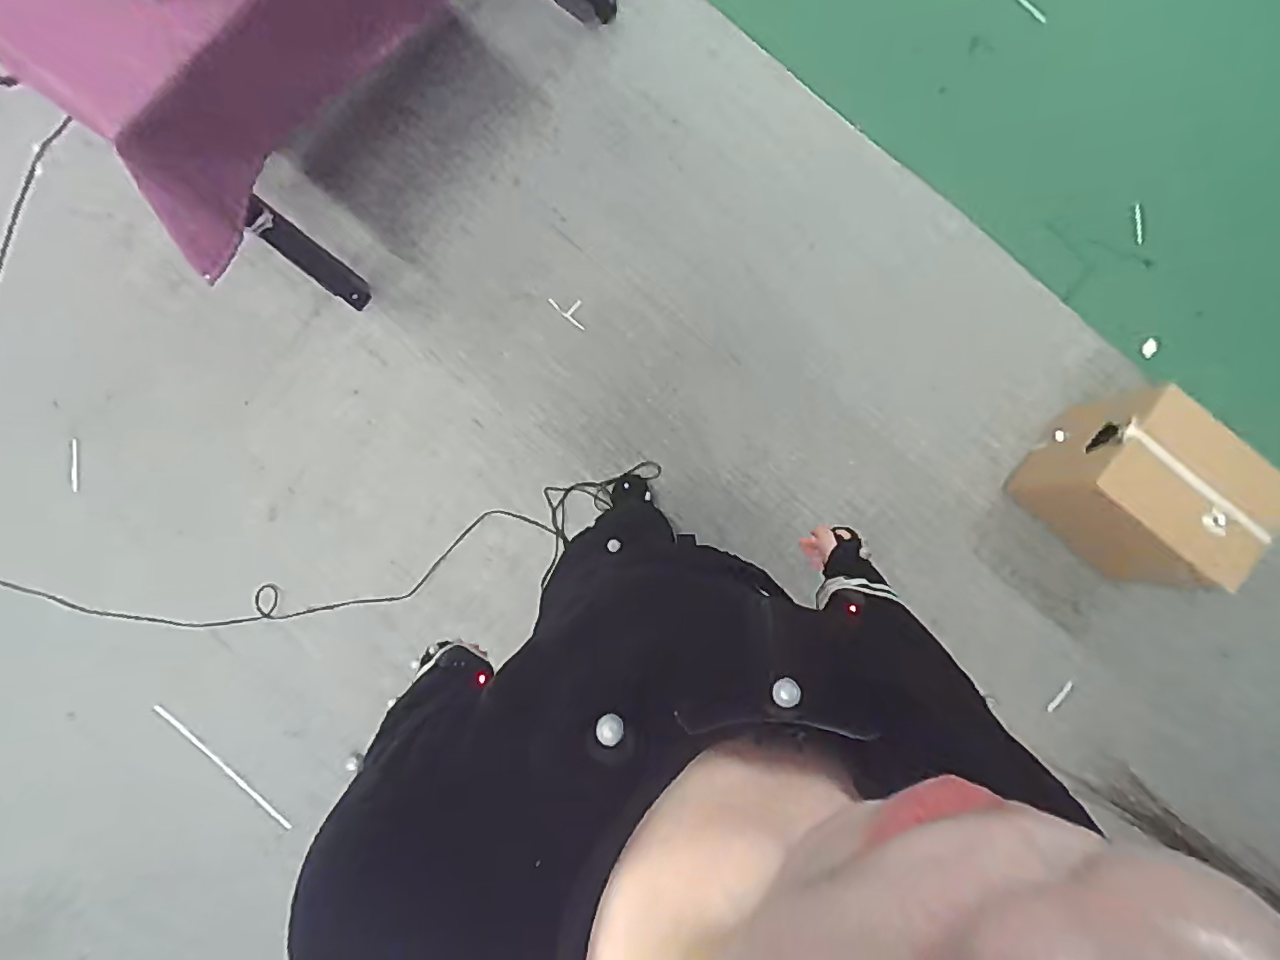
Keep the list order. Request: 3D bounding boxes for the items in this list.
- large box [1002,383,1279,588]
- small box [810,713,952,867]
[{"bbox_3d":[1.271,0.020,1.396,0.408,0.320,0.320,41,86,0],"label":"large box"},{"bbox_3d":[0.470,0.611,1.092,0.168,0.176,0.179,40,83,1],"label":"small box"}]
